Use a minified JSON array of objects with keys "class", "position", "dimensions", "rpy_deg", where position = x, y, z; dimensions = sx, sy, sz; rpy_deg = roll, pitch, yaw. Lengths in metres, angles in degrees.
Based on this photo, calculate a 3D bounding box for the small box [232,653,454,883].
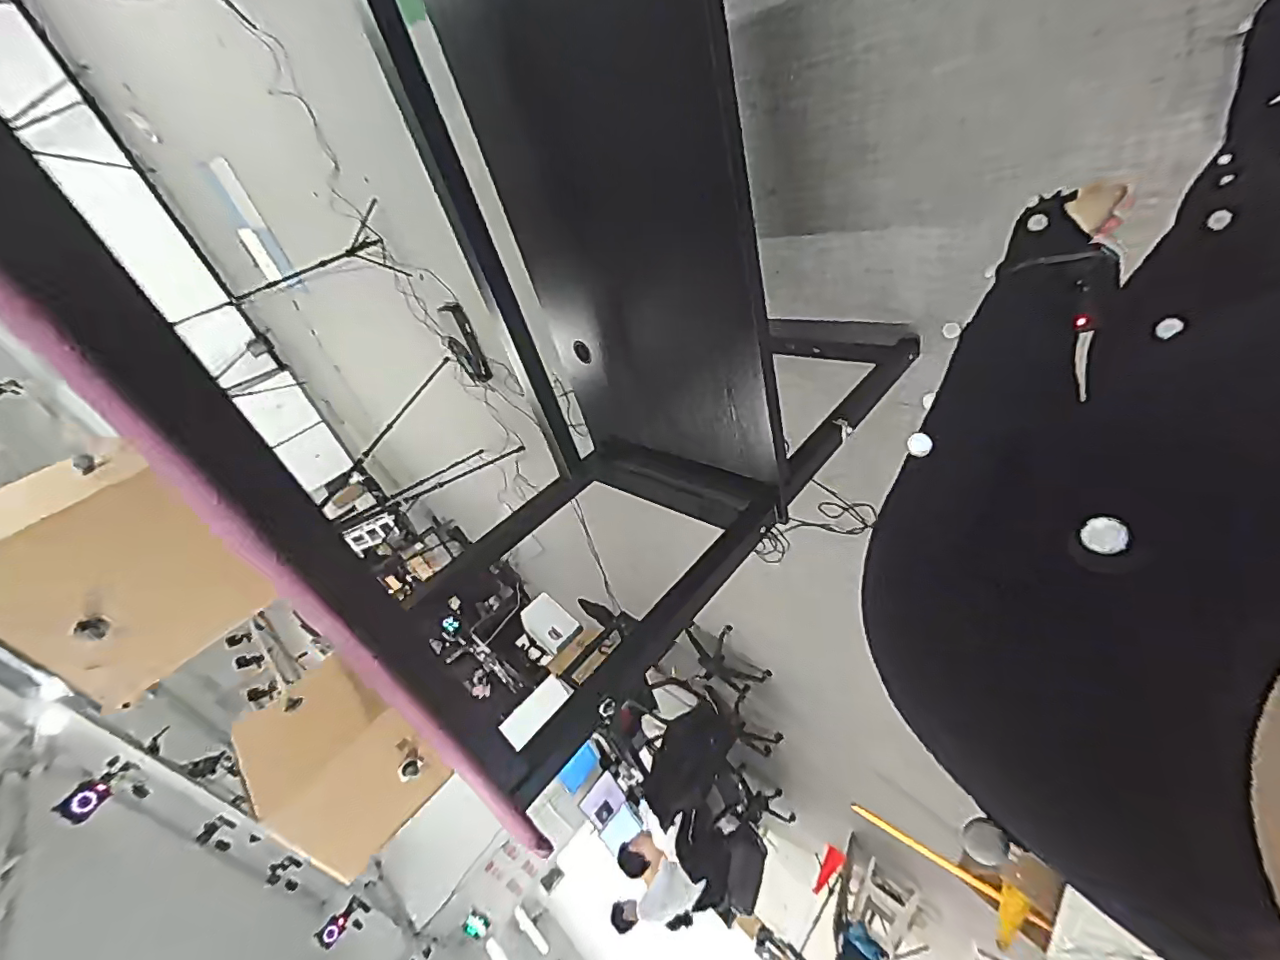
[{"class":"small box","position":[-0.377,0.355,0.701],"dimensions":[0.179,0.176,0.168],"rpy_deg":[15,138,44]}]

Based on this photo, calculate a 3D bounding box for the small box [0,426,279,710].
[{"class":"small box","position":[-0.497,0.075,0.528],"dimensions":[0.168,0.176,0.179],"rpy_deg":[21,141,42]}]
